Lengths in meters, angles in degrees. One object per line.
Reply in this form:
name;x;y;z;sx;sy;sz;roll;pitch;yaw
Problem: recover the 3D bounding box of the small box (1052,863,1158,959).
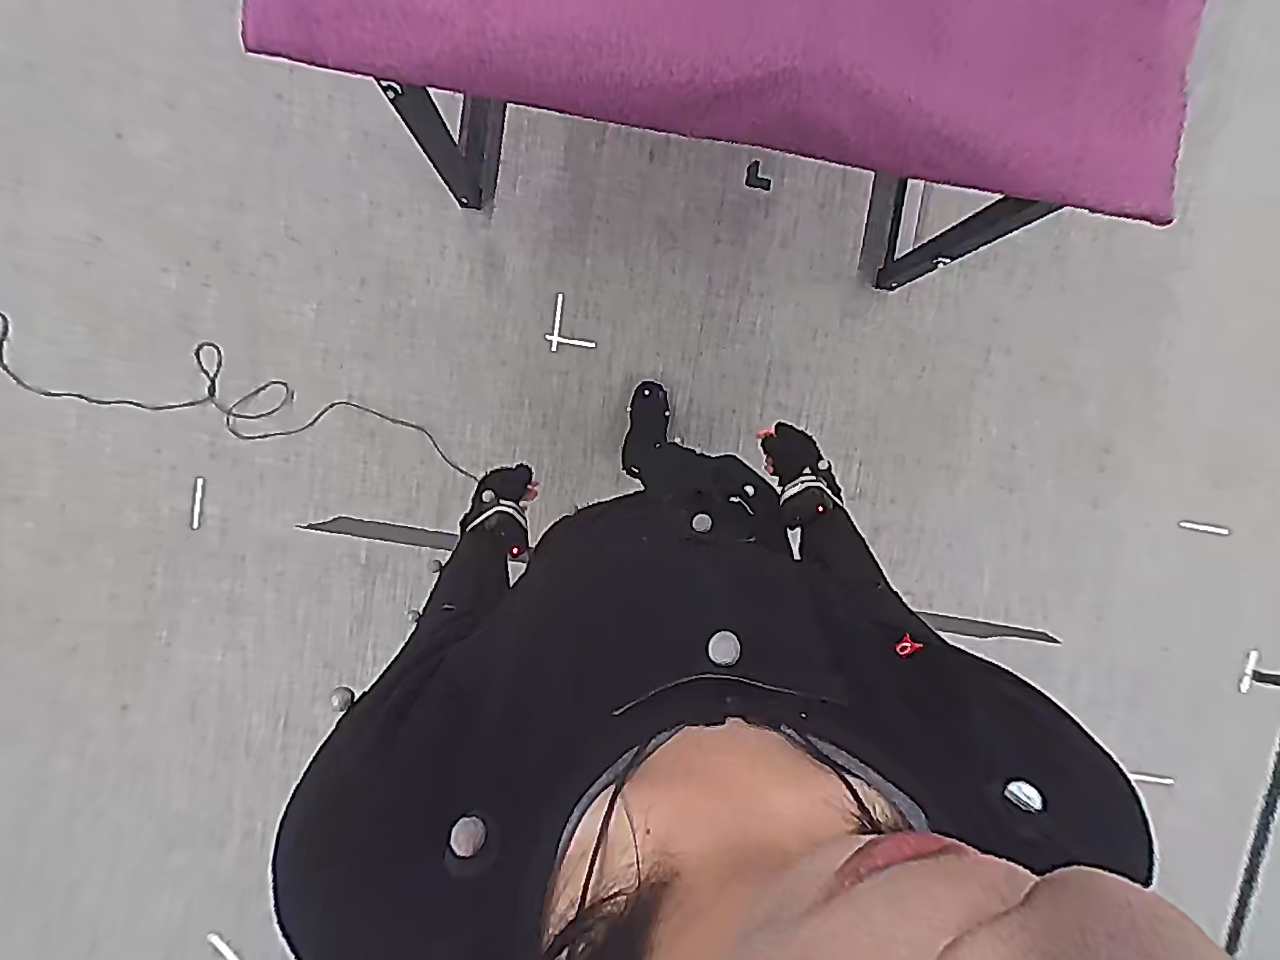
small box;1.381;1.302;1.616;0.168;0.176;0.179;-13;95;-2
